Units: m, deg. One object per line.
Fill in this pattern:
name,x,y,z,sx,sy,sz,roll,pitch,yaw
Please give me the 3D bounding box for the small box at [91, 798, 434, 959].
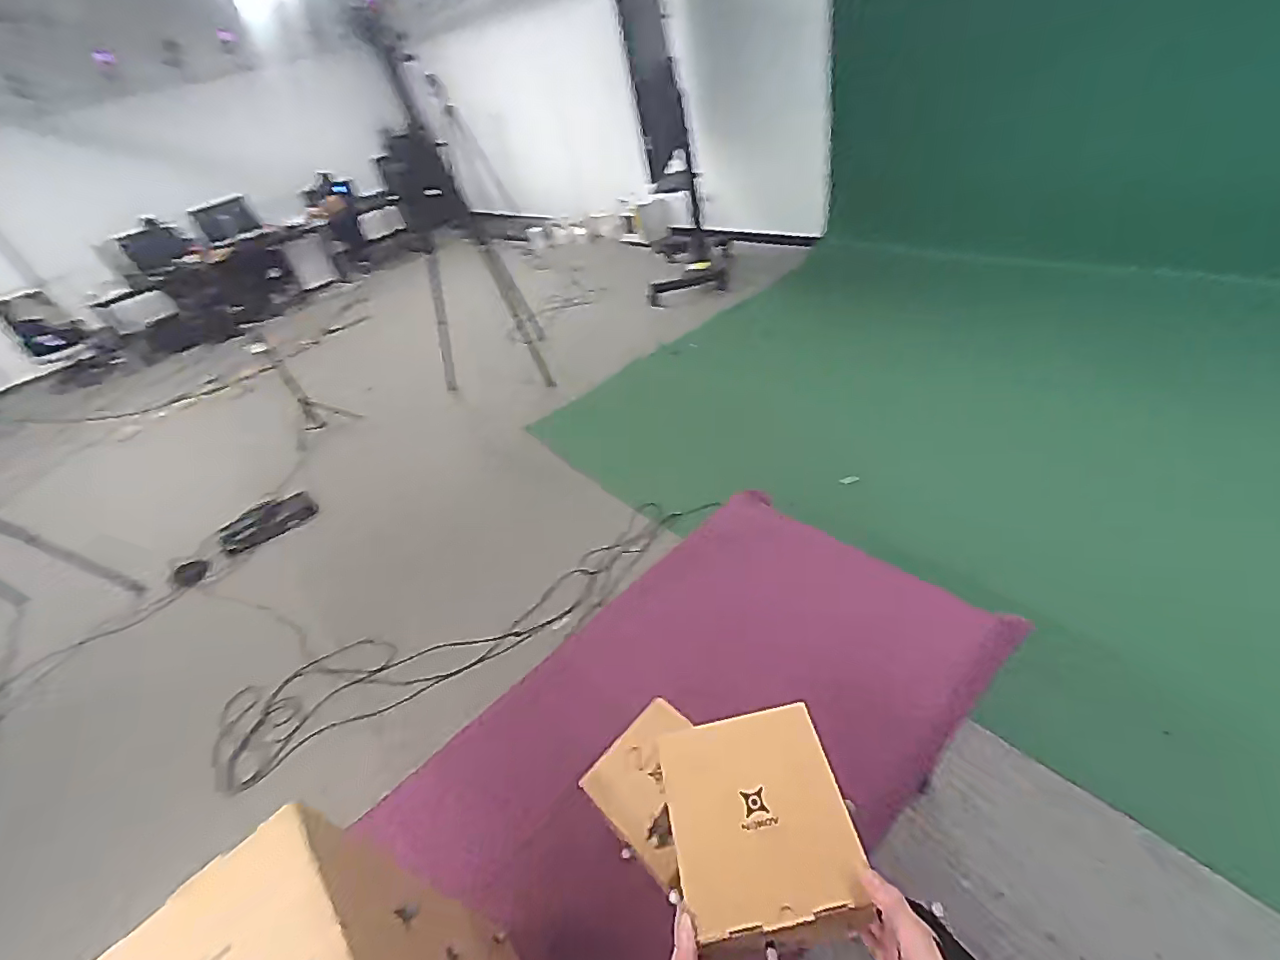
small box,-0.285,0.409,0.429,0.168,0.176,0.179,-40,43,-26
